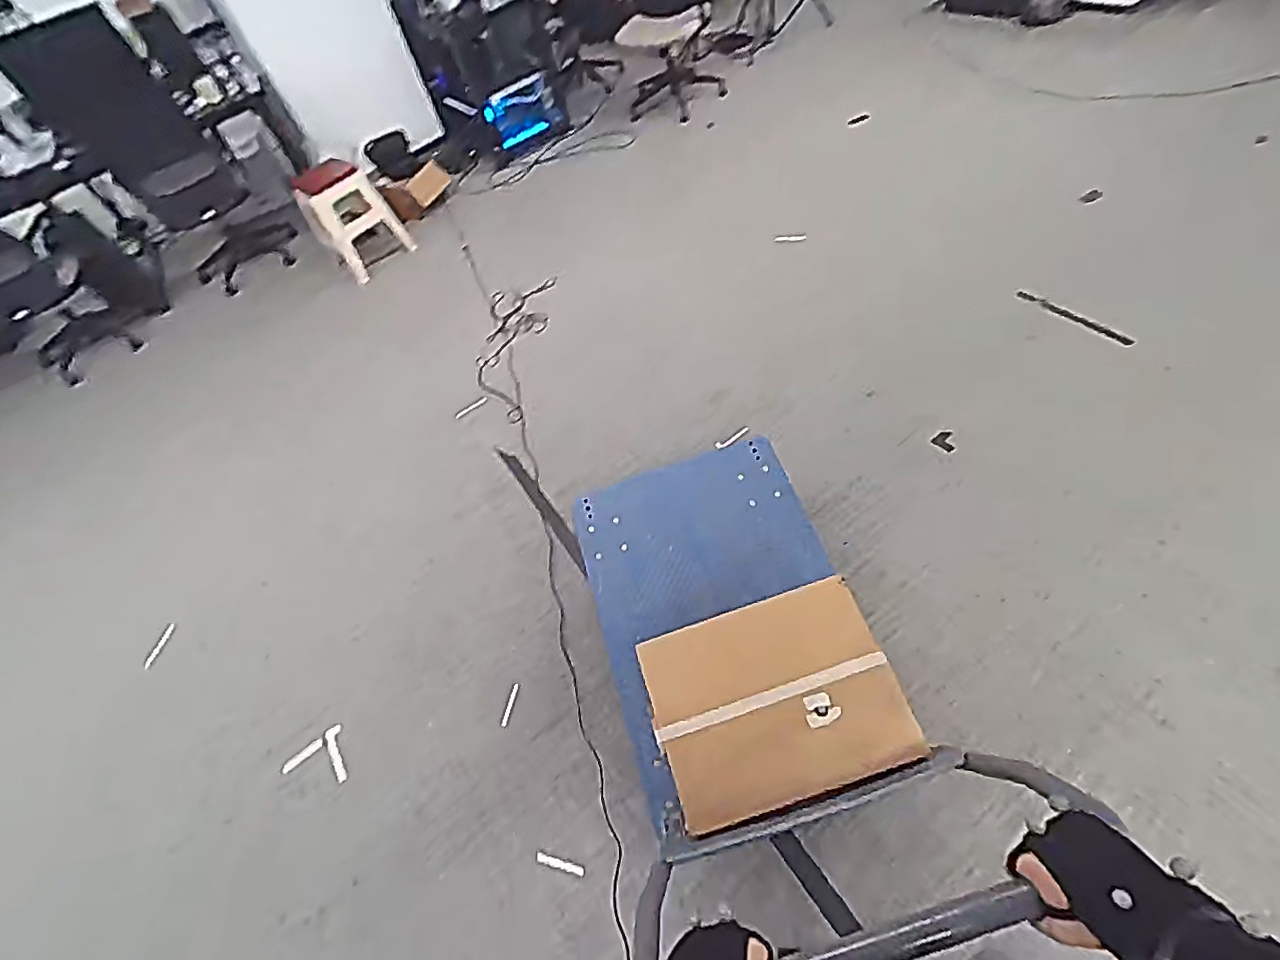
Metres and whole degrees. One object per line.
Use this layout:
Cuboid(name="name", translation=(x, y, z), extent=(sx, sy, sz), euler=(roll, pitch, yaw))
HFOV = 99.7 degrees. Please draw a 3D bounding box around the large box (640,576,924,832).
Cuboid(name="large box", translation=(0.250, 0.440, 1.068), extent=(0.408, 0.320, 0.320), euler=(-20, 63, -1))
